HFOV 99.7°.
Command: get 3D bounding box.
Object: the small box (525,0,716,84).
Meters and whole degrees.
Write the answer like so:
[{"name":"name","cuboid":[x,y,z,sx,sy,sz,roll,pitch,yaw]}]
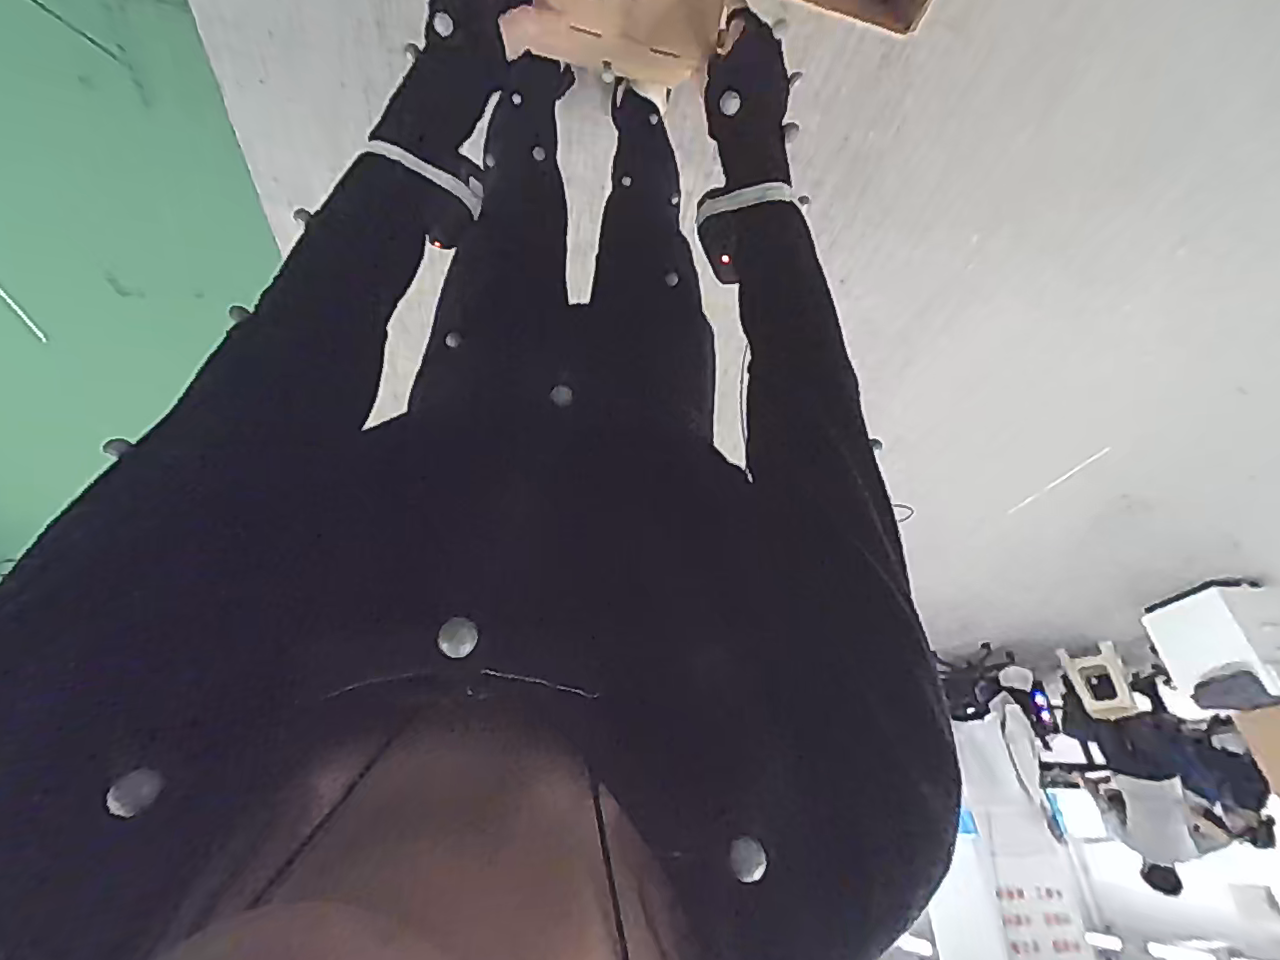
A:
[{"name":"small box","cuboid":[-0.017,-0.506,0.508,0.168,0.176,0.179,6,119,-14]}]
